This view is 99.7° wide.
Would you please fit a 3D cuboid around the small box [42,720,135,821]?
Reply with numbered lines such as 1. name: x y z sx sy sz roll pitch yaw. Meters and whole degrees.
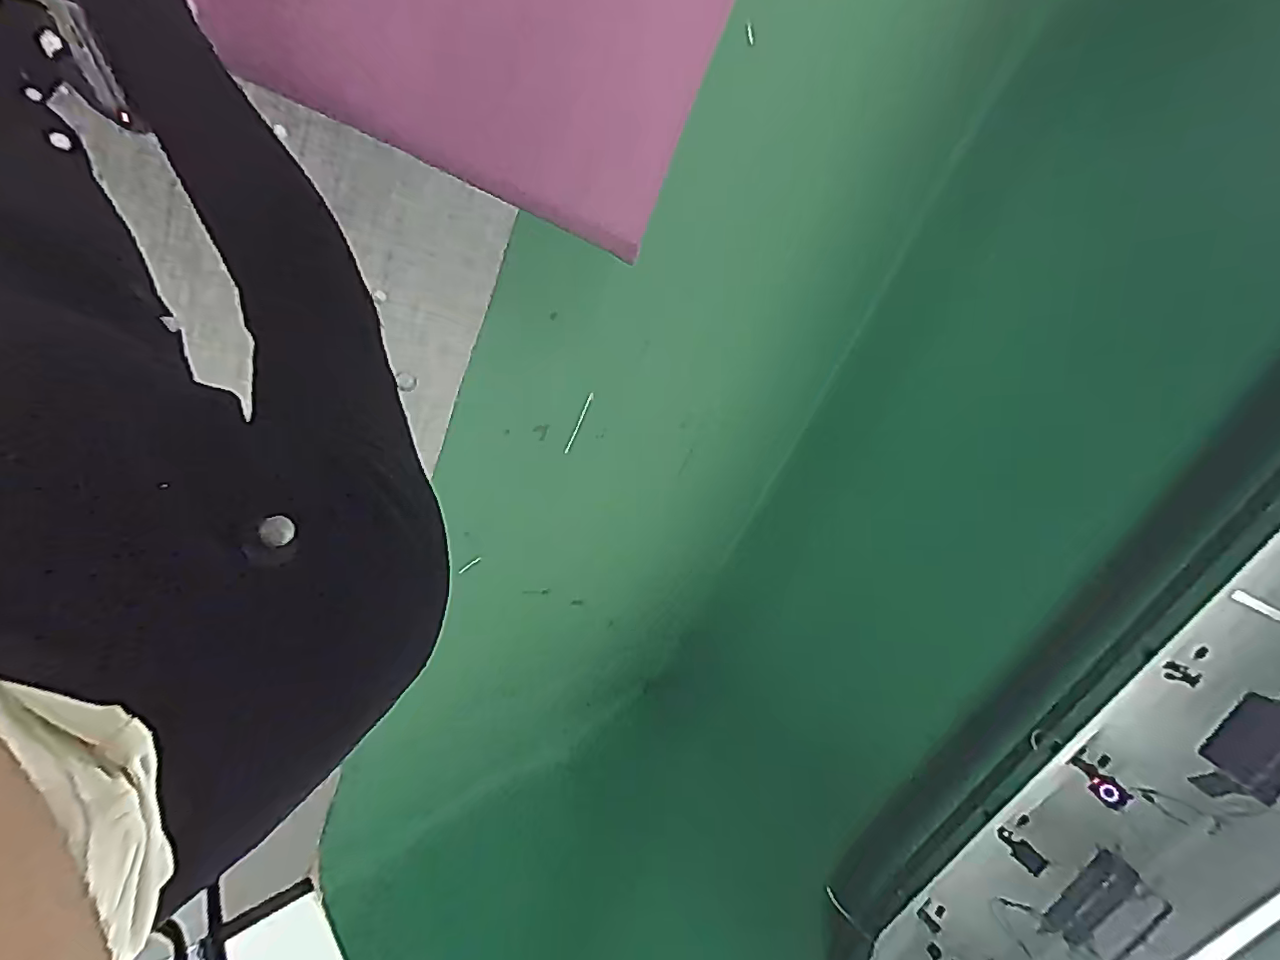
1. small box: -1.669 0.867 1.632 0.179 0.176 0.168 -2 124 -53
